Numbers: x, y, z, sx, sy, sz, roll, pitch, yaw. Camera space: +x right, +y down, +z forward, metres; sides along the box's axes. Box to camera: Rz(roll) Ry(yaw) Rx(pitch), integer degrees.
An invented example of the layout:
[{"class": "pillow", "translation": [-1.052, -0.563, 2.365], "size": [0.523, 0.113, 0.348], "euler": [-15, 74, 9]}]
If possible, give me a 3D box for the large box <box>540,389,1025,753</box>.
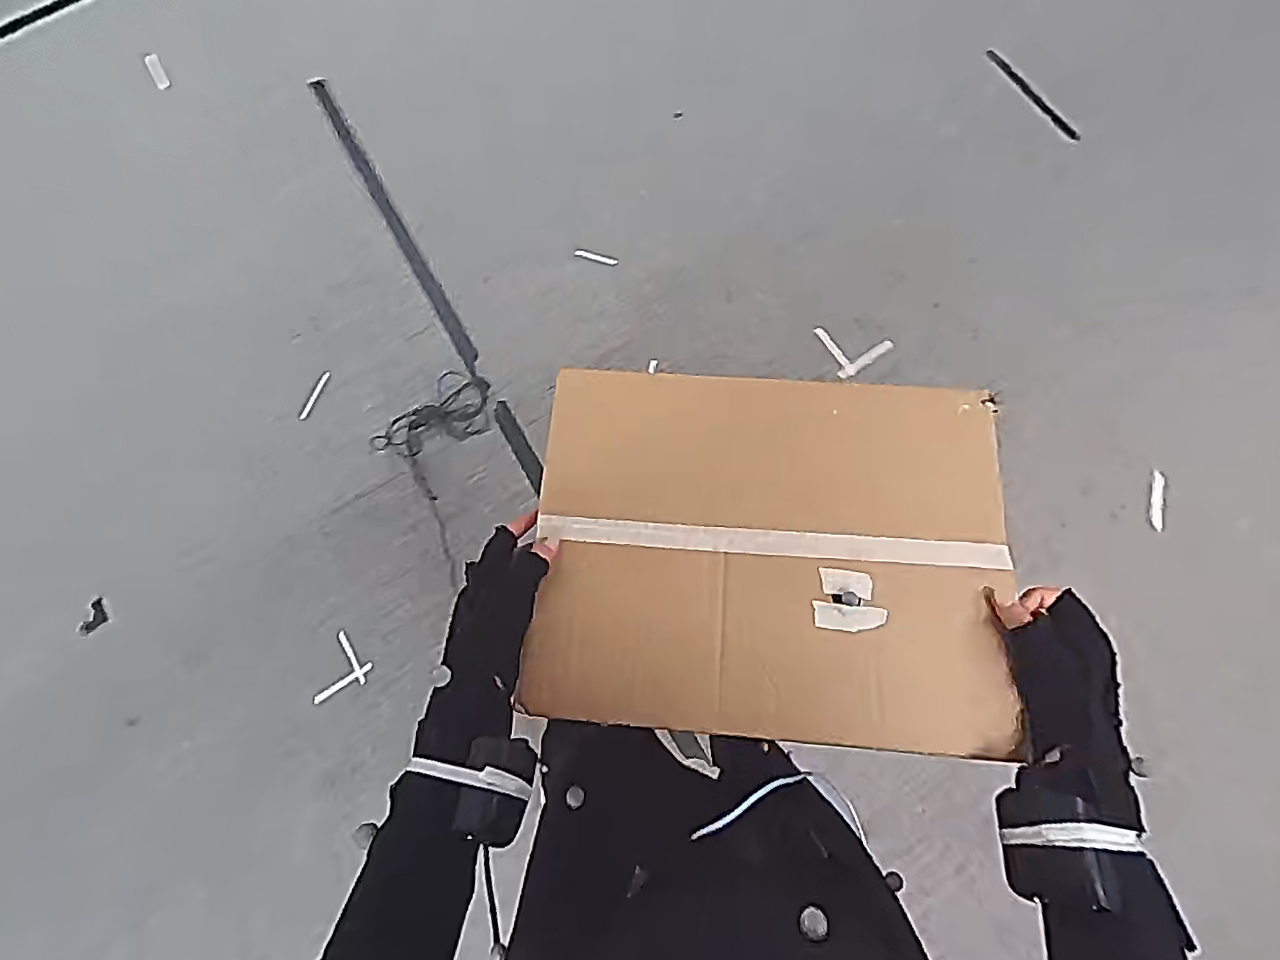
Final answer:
[{"class": "large box", "translation": [0.126, 0.108, 0.627], "size": [0.408, 0.320, 0.320], "euler": [3, 74, 4]}]
